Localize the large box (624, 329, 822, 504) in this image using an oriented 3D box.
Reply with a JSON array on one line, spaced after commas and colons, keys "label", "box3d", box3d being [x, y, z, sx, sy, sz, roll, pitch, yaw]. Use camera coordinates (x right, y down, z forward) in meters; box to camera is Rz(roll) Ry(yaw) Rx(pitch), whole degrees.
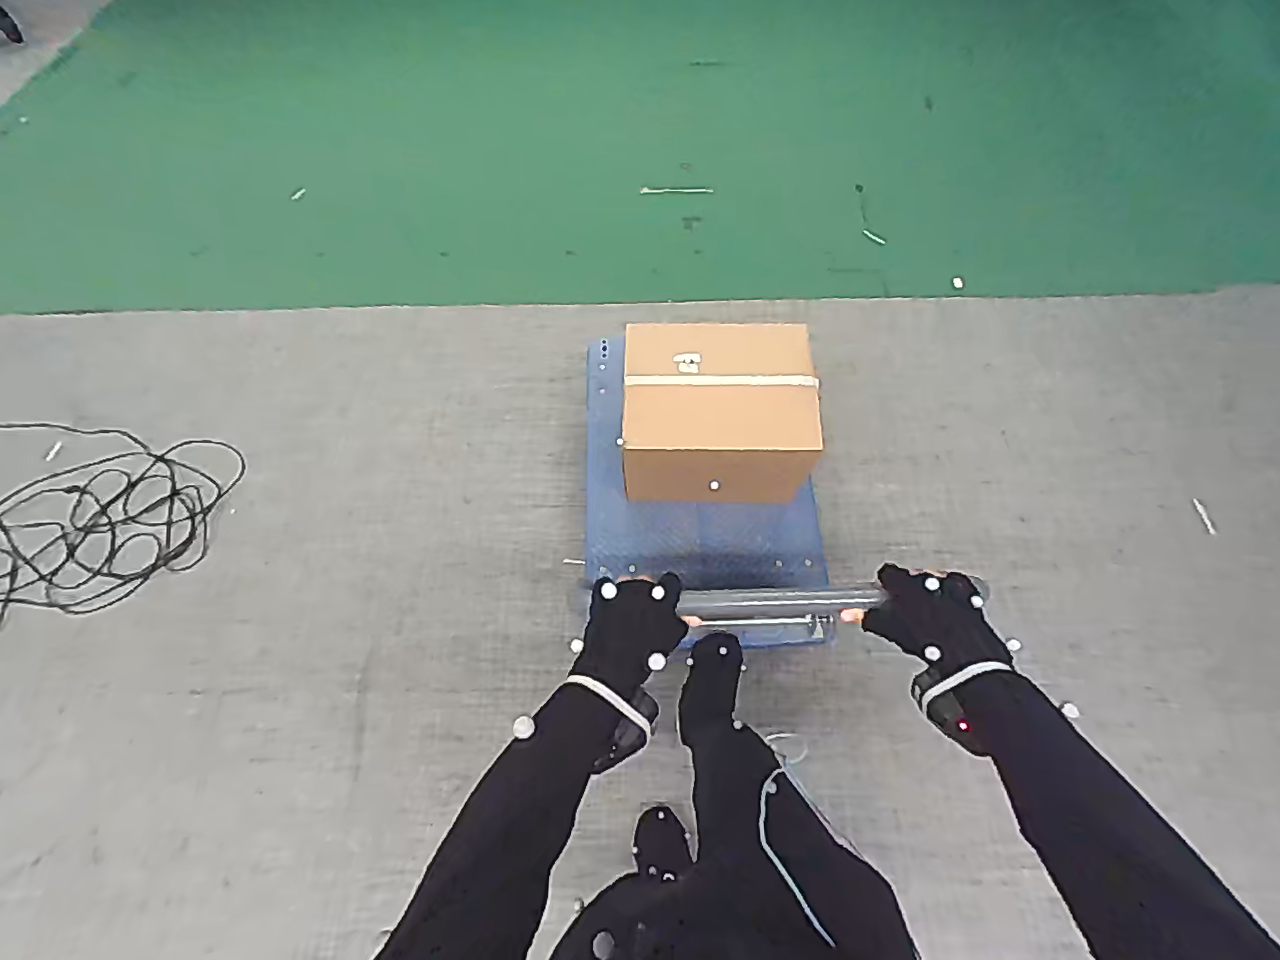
[{"label": "large box", "box3d": [0.173, -0.134, 1.275, 0.408, 0.320, 0.320, 0, 67, 2]}]
